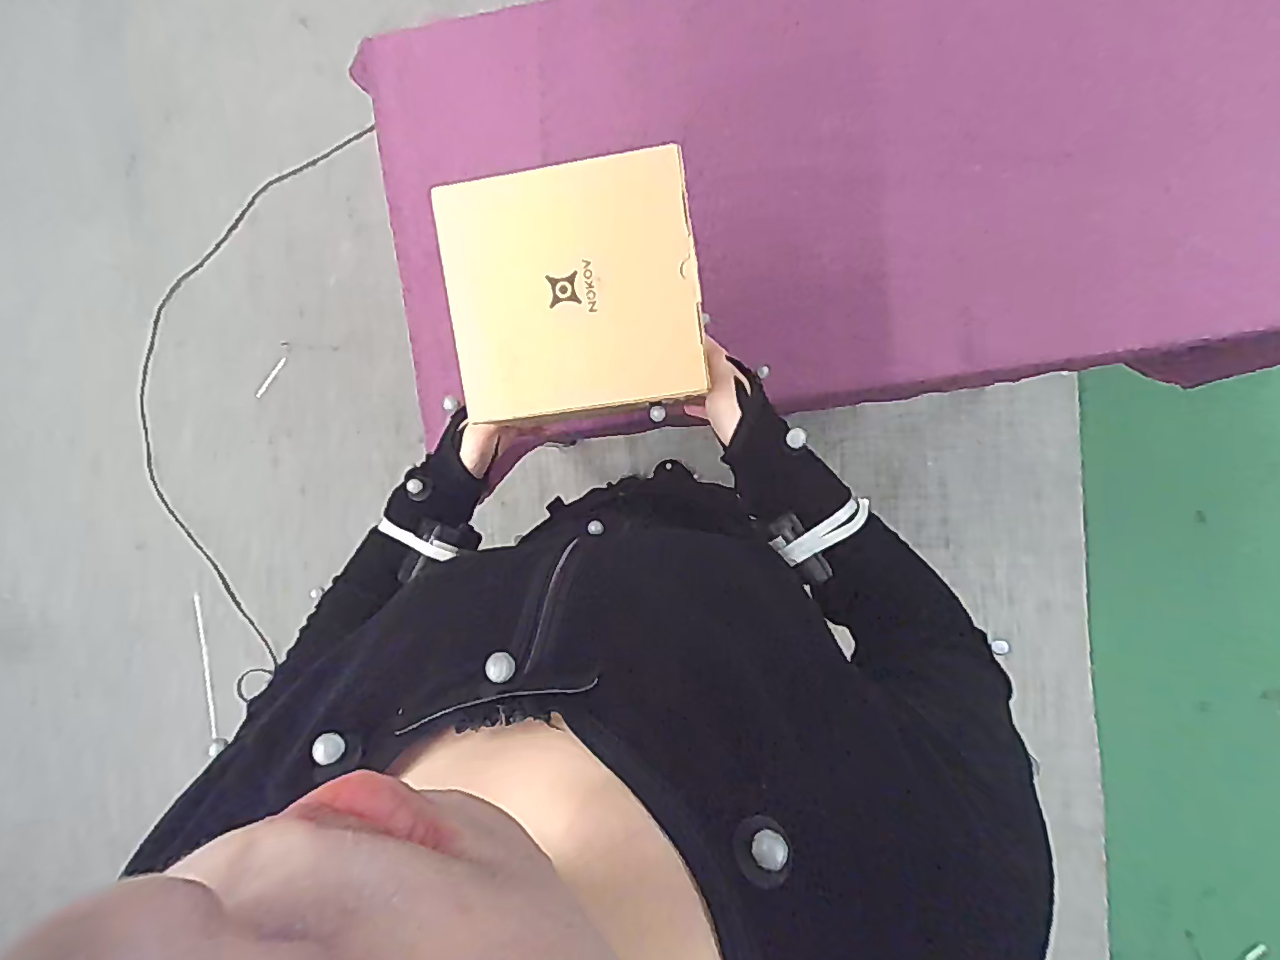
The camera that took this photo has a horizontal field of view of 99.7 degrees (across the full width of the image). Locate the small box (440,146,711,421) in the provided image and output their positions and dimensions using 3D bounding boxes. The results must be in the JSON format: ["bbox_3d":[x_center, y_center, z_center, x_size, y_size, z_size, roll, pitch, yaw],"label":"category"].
[{"bbox_3d":[-0.040,-0.142,0.455,0.179,0.176,0.168,-7,95,4],"label":"small box"}]
